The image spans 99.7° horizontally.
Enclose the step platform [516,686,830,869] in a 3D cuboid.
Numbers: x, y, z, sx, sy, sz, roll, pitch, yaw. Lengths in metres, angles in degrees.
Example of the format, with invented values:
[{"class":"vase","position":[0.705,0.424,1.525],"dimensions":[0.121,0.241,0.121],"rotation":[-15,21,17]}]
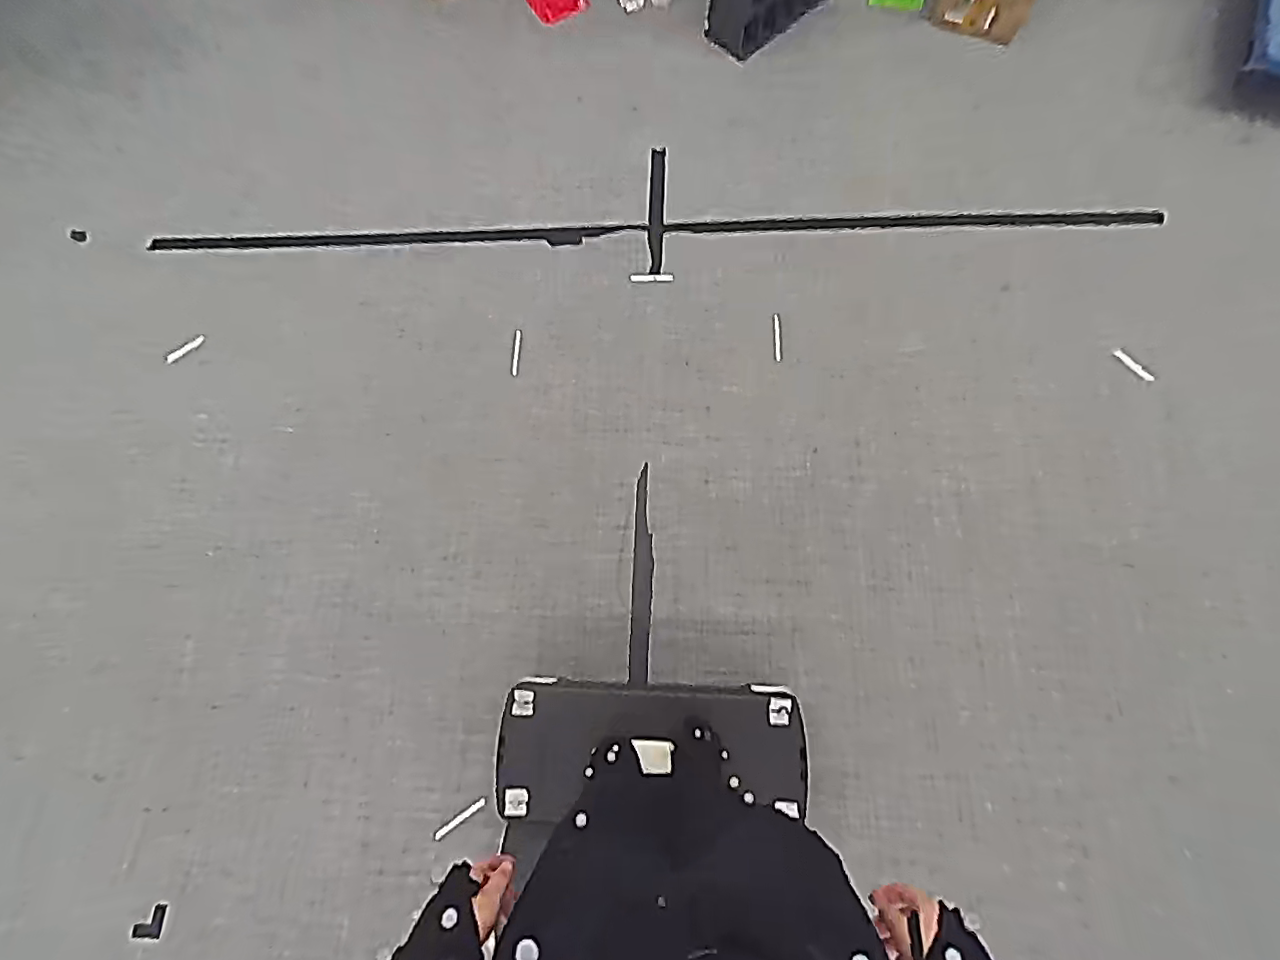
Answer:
[{"class":"step platform","position":[0.070,0.653,1.222],"dimensions":[0.684,0.204,0.286],"rotation":[5,72,4]}]
